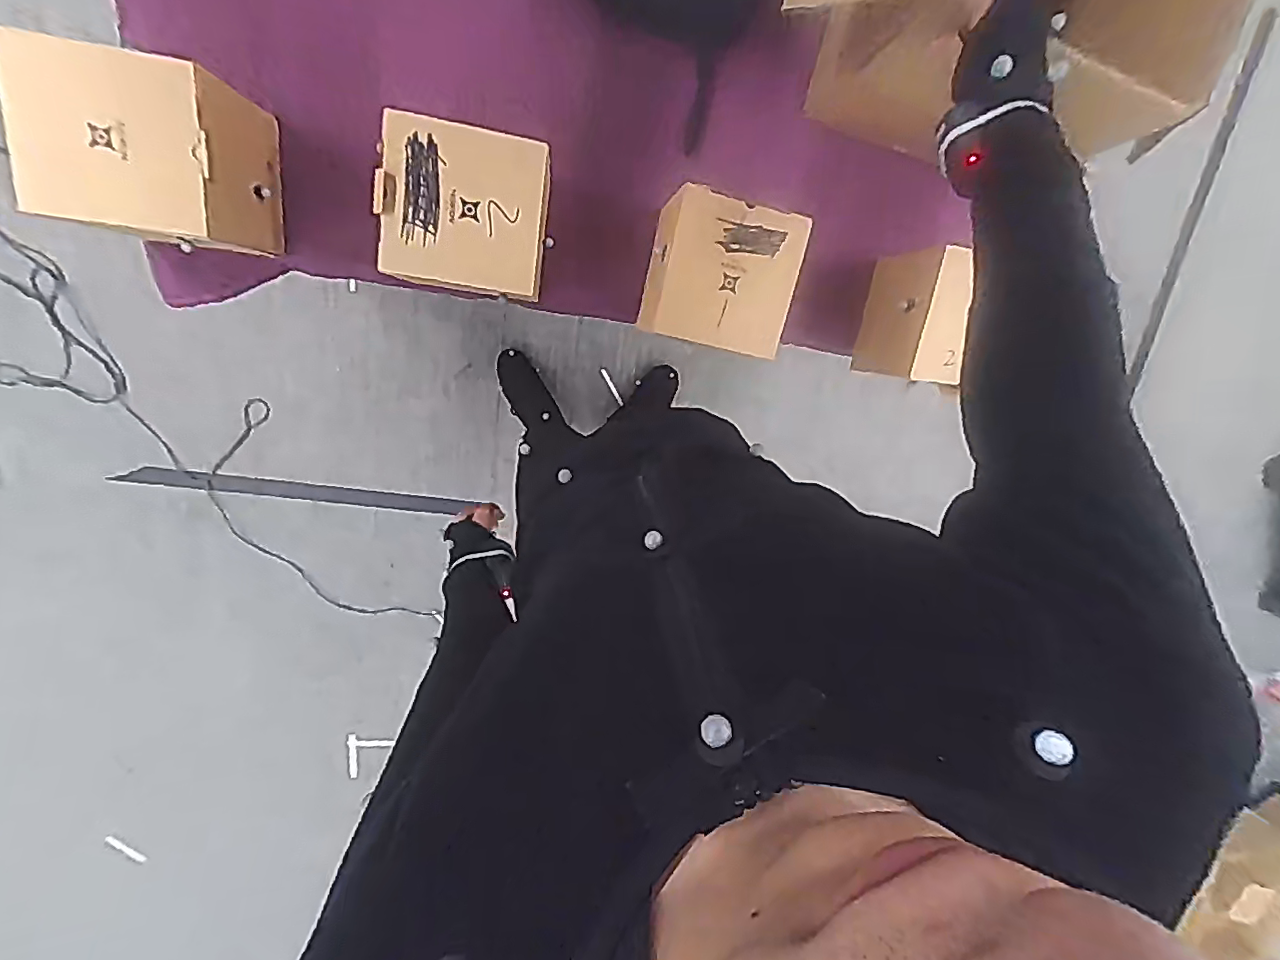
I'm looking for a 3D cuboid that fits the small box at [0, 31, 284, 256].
[{"bbox_3d":[-0.546,-0.362,0.621,0.179,0.176,0.168,4,105,-11],"label":"small box"}]

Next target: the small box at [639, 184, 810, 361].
[{"bbox_3d":[0.101,-0.273,0.741,0.168,0.176,0.179,10,105,-11],"label":"small box"}]

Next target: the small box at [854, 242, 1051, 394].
[{"bbox_3d":[0.444,-0.234,0.800,0.168,0.176,0.179,7,105,-9],"label":"small box"}]
